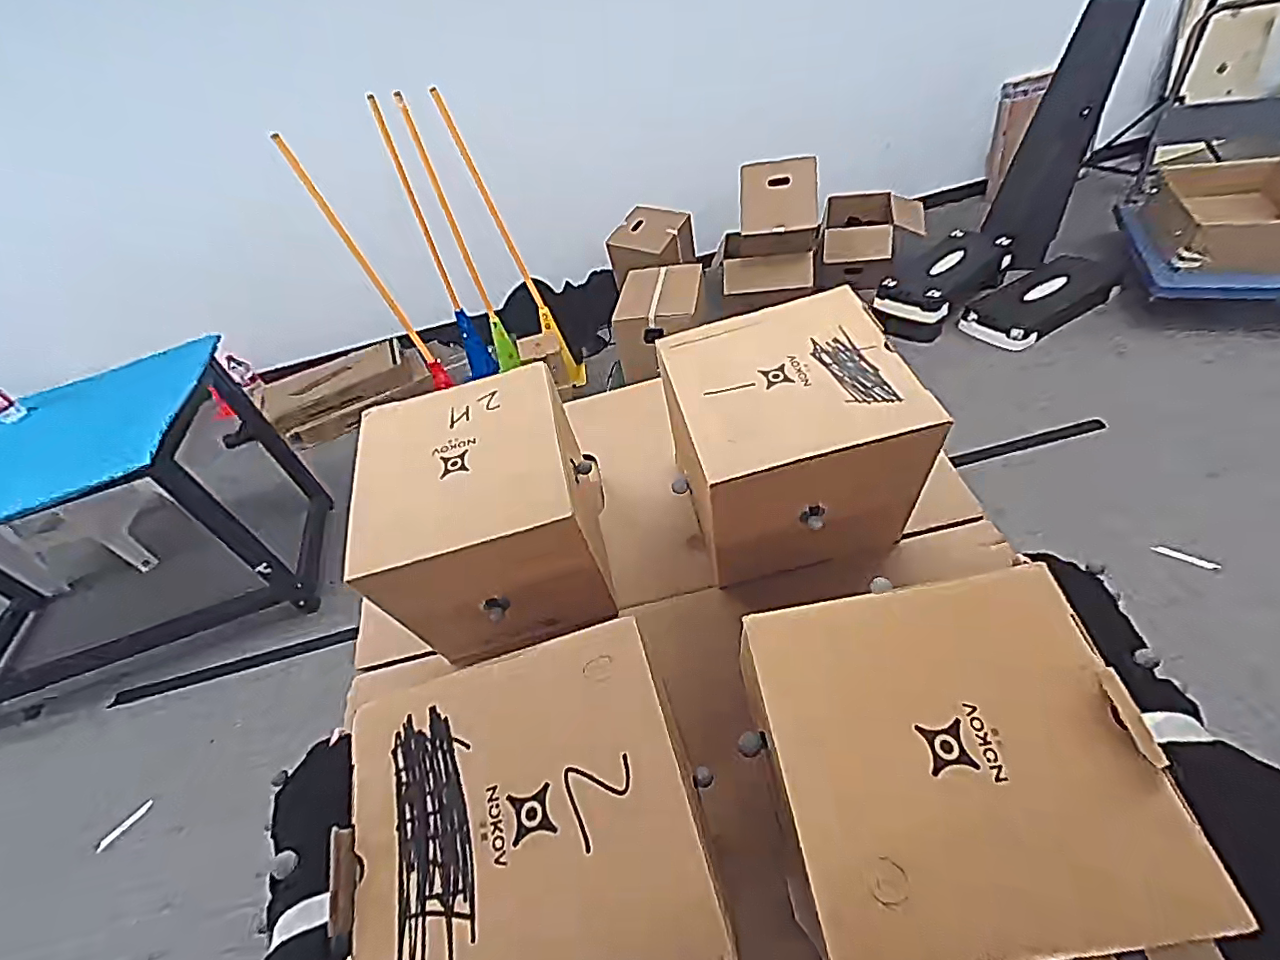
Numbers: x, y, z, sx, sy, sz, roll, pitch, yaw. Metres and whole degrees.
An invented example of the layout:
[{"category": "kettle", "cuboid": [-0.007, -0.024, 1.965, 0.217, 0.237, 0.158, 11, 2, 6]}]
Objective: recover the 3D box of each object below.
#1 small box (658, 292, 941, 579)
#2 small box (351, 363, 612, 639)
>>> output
[{"category": "small box", "cuboid": [0.125, -0.033, 0.487, 0.179, 0.176, 0.168, -15, 52, 1]}, {"category": "small box", "cuboid": [-0.130, 0.029, 0.494, 0.168, 0.176, 0.179, -15, 52, 0]}]
